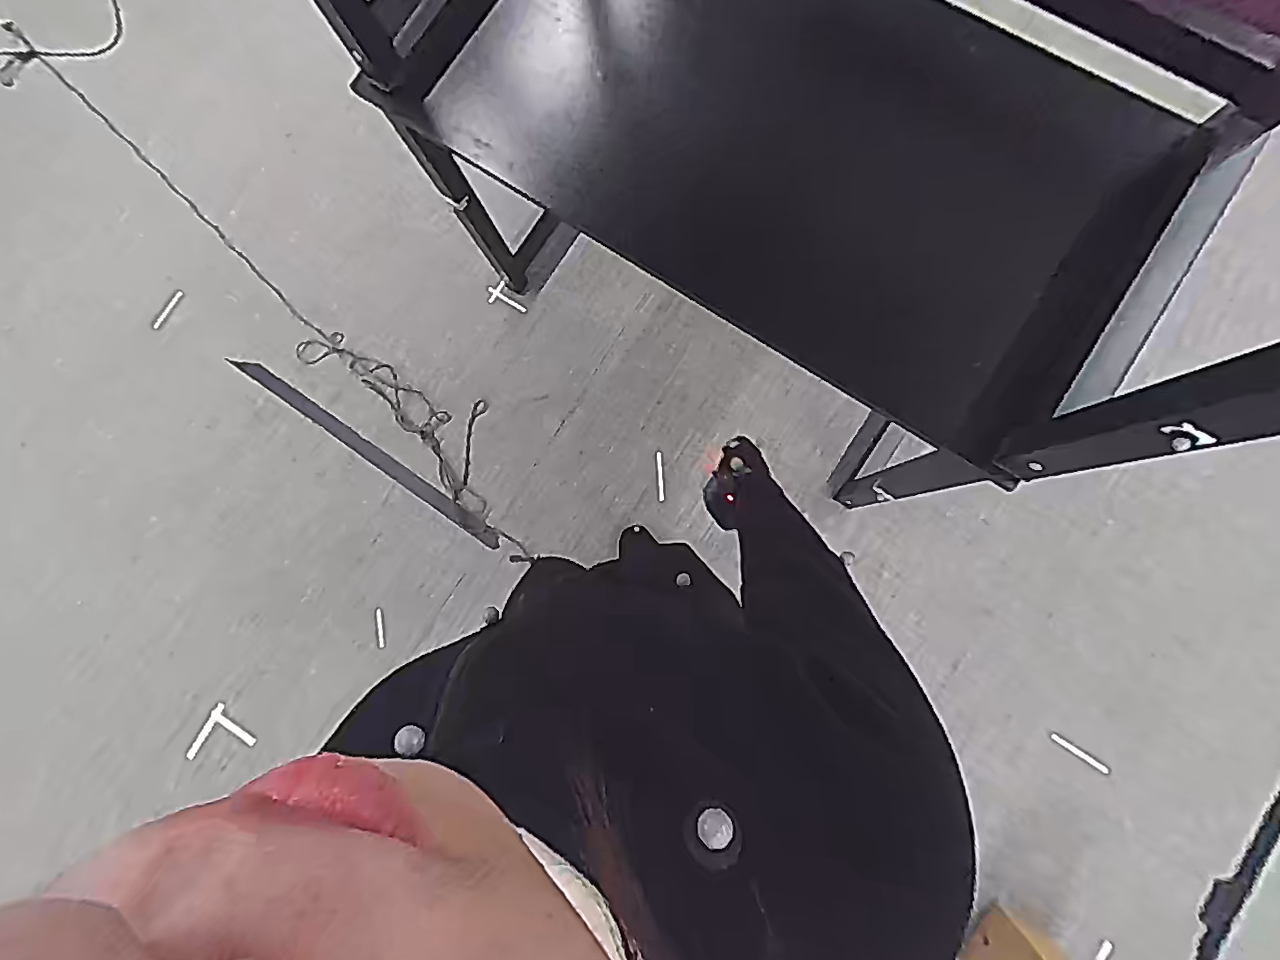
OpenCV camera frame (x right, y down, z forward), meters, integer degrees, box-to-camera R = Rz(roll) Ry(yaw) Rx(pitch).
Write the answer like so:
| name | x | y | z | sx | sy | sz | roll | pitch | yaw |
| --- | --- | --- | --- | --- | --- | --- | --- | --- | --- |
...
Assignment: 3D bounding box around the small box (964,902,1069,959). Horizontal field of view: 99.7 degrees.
| name | x | y | z | sx | sy | sz | roll | pitch | yaw |
| --- | --- | --- | --- | --- | --- | --- | --- | --- | --- |
| small box | 0.888 | 1.143 | 1.244 | 0.168 | 0.176 | 0.179 | 33 | 89 | 7 |
